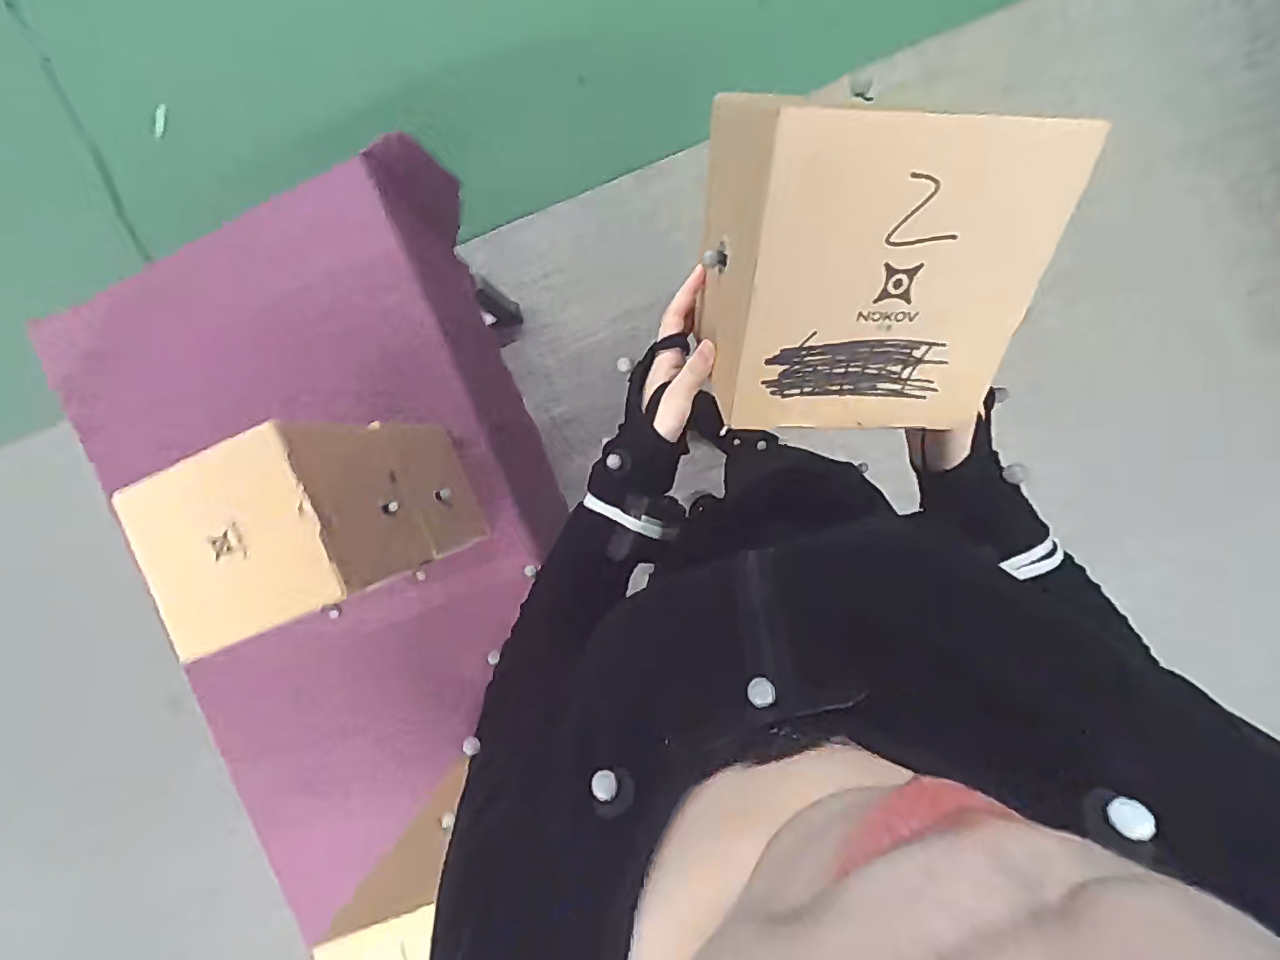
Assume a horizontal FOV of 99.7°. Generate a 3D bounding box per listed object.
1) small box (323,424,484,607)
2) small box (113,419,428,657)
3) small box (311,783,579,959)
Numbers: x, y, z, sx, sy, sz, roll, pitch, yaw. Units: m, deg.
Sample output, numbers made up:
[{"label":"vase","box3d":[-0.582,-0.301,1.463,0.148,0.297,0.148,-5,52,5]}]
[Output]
[{"label":"small box","box3d":[-0.335,0.038,0.716,0.168,0.176,0.179,-25,91,6]},{"label":"small box","box3d":[-0.357,0.051,0.555,0.179,0.176,0.168,-23,90,6]},{"label":"small box","box3d":[-0.180,0.459,0.554,0.168,0.176,0.179,-24,89,6]}]
